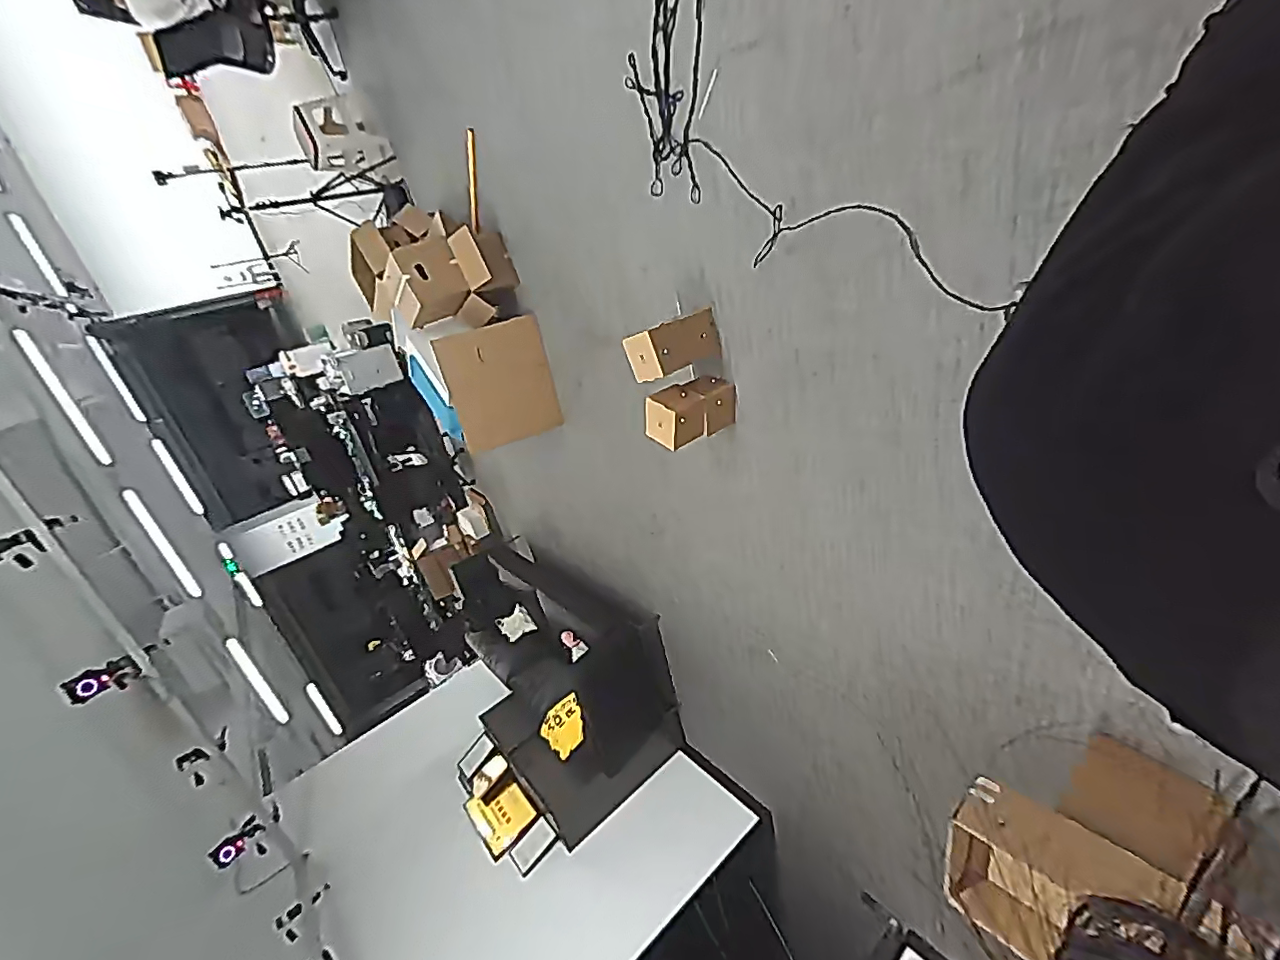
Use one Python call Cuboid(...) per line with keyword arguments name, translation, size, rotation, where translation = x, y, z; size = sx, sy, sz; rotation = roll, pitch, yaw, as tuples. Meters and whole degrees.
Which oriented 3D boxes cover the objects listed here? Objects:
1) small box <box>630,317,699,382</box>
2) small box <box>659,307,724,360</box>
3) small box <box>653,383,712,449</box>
Cuboid(name="small box", translation=(0.096, -0.488, 2.025), size=(0.168, 0.176, 0.179), rotation=(1, 116, 56))
Cuboid(name="small box", translation=(0.210, -0.565, 2.112), size=(0.179, 0.176, 0.168), rotation=(9, 122, 55))
Cuboid(name="small box", translation=(0.167, -0.255, 2.120), size=(0.168, 0.176, 0.179), rotation=(35, 140, 38))
